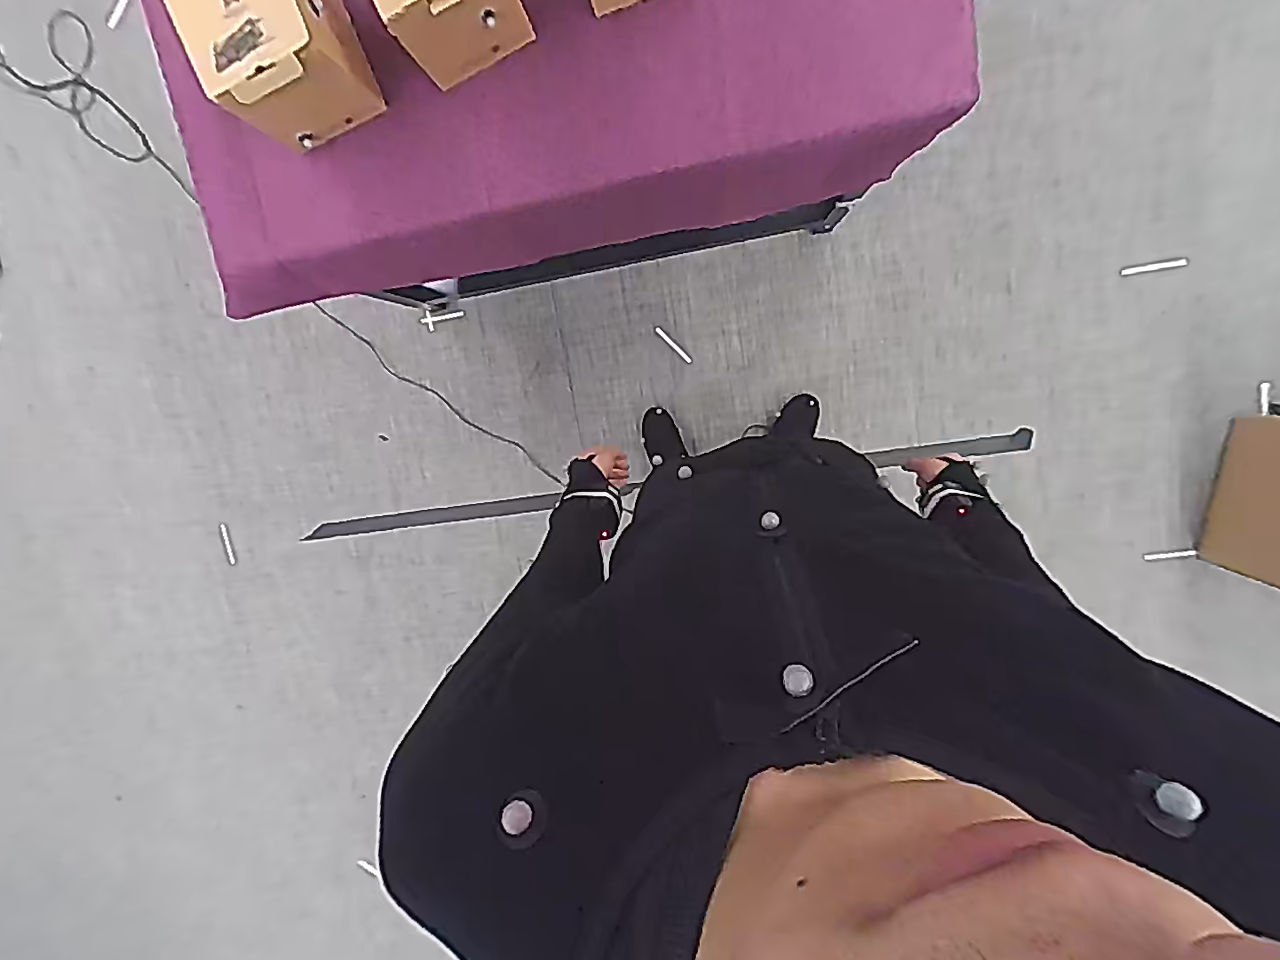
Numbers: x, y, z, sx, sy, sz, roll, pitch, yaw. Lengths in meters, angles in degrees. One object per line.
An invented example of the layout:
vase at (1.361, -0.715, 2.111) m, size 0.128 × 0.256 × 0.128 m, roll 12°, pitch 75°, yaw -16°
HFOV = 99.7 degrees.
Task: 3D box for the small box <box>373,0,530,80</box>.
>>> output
small box at (-0.271, -0.691, 0.732) m, size 0.168 × 0.176 × 0.179 m, roll -22°, pitch 97°, yaw 8°

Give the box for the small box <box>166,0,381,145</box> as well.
small box at (-0.508, -0.614, 0.767) m, size 0.168 × 0.176 × 0.179 m, roll -21°, pitch 97°, yaw 8°
